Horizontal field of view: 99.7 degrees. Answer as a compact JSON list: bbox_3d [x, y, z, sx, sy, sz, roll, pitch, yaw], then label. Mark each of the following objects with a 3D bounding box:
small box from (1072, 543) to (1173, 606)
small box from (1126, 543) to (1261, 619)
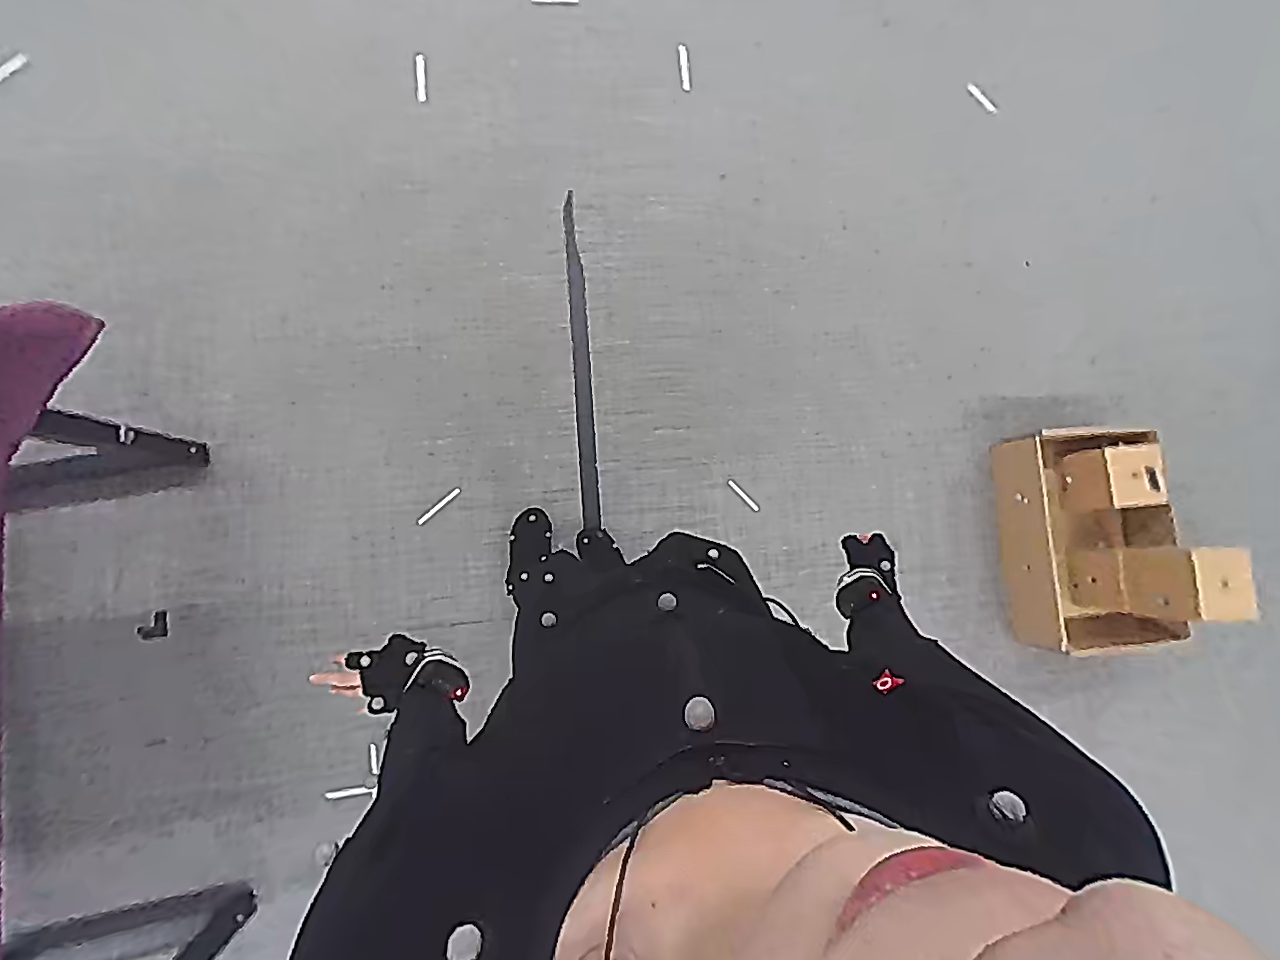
[{"bbox_3d":[1.382,0.270,1.546,0.179,0.176,0.168,-2,81,-5],"label":"small box"},{"bbox_3d":[1.404,0.253,1.384,0.168,0.176,0.179,-1,82,-8],"label":"small box"}]
